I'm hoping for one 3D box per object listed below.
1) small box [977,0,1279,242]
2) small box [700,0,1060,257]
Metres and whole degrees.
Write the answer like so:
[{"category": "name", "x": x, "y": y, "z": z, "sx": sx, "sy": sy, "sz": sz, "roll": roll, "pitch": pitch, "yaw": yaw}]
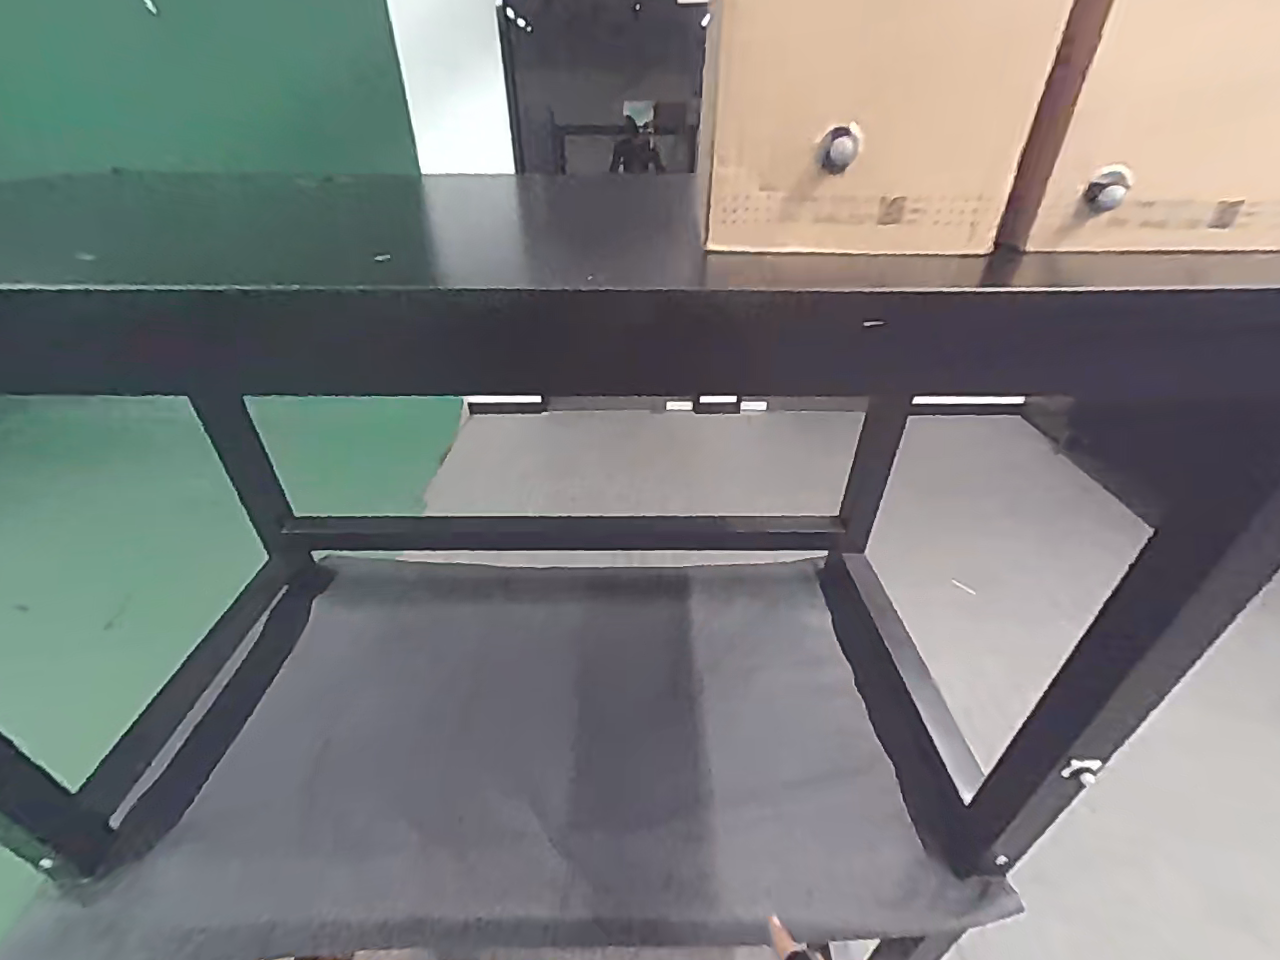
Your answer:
[{"category": "small box", "x": 0.310, "y": -0.254, "z": 0.347, "sx": 0.168, "sy": 0.176, "sz": 0.179, "roll": 1, "pitch": 32, "yaw": 3}, {"category": "small box", "x": 0.127, "y": -0.254, "z": 0.352, "sx": 0.168, "sy": 0.176, "sz": 0.179, "roll": 2, "pitch": 34, "yaw": 3}]
